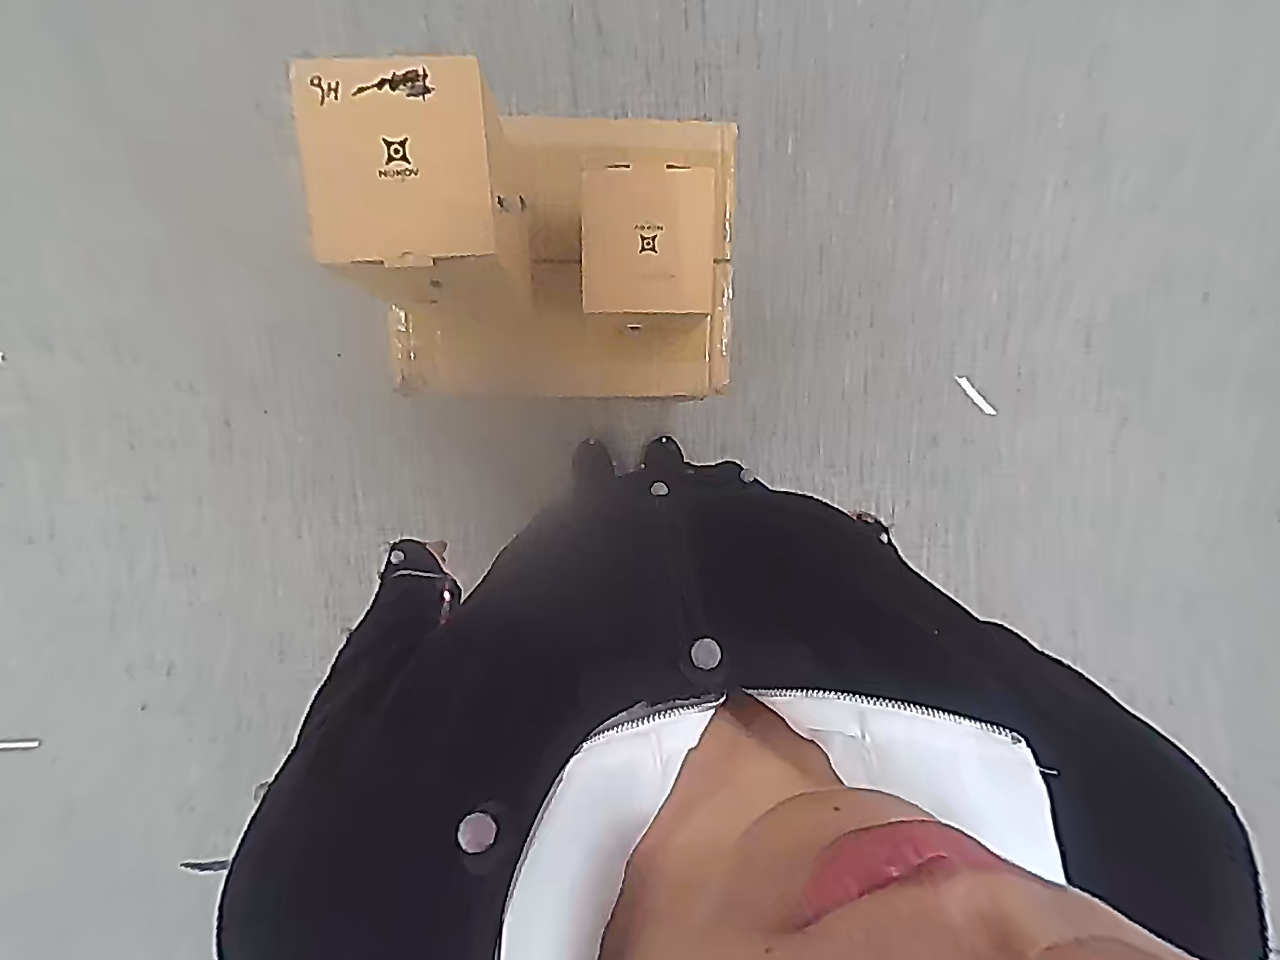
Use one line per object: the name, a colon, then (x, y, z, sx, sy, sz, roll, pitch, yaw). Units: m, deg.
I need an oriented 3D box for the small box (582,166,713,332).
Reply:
small box: (0.007, -0.307, 0.751, 0.168, 0.176, 0.179, -1, 98, -1)

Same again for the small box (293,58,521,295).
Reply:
small box: (-0.225, -0.298, 0.571, 0.168, 0.176, 0.179, -4, 98, -4)
